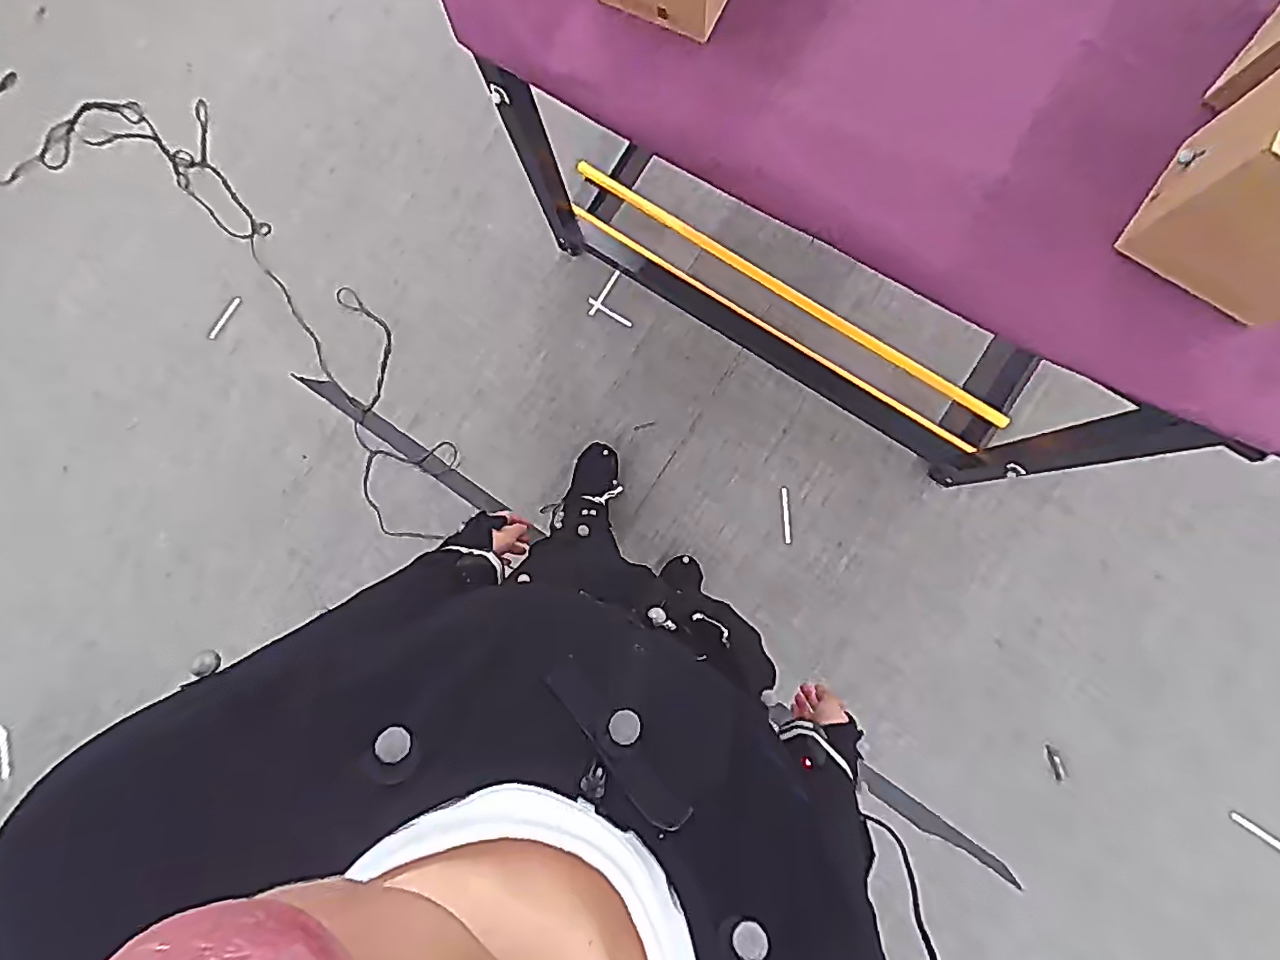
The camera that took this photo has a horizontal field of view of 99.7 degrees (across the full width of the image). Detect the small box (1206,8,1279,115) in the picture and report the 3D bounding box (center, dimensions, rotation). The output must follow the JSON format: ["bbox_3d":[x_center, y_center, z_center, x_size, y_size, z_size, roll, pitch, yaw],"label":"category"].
[{"bbox_3d":[0.776,-0.464,0.561,0.179,0.176,0.168,40,91,5],"label":"small box"}]

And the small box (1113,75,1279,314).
[{"bbox_3d":[0.665,-0.297,0.556,0.179,0.176,0.168,35,87,7],"label":"small box"}]
